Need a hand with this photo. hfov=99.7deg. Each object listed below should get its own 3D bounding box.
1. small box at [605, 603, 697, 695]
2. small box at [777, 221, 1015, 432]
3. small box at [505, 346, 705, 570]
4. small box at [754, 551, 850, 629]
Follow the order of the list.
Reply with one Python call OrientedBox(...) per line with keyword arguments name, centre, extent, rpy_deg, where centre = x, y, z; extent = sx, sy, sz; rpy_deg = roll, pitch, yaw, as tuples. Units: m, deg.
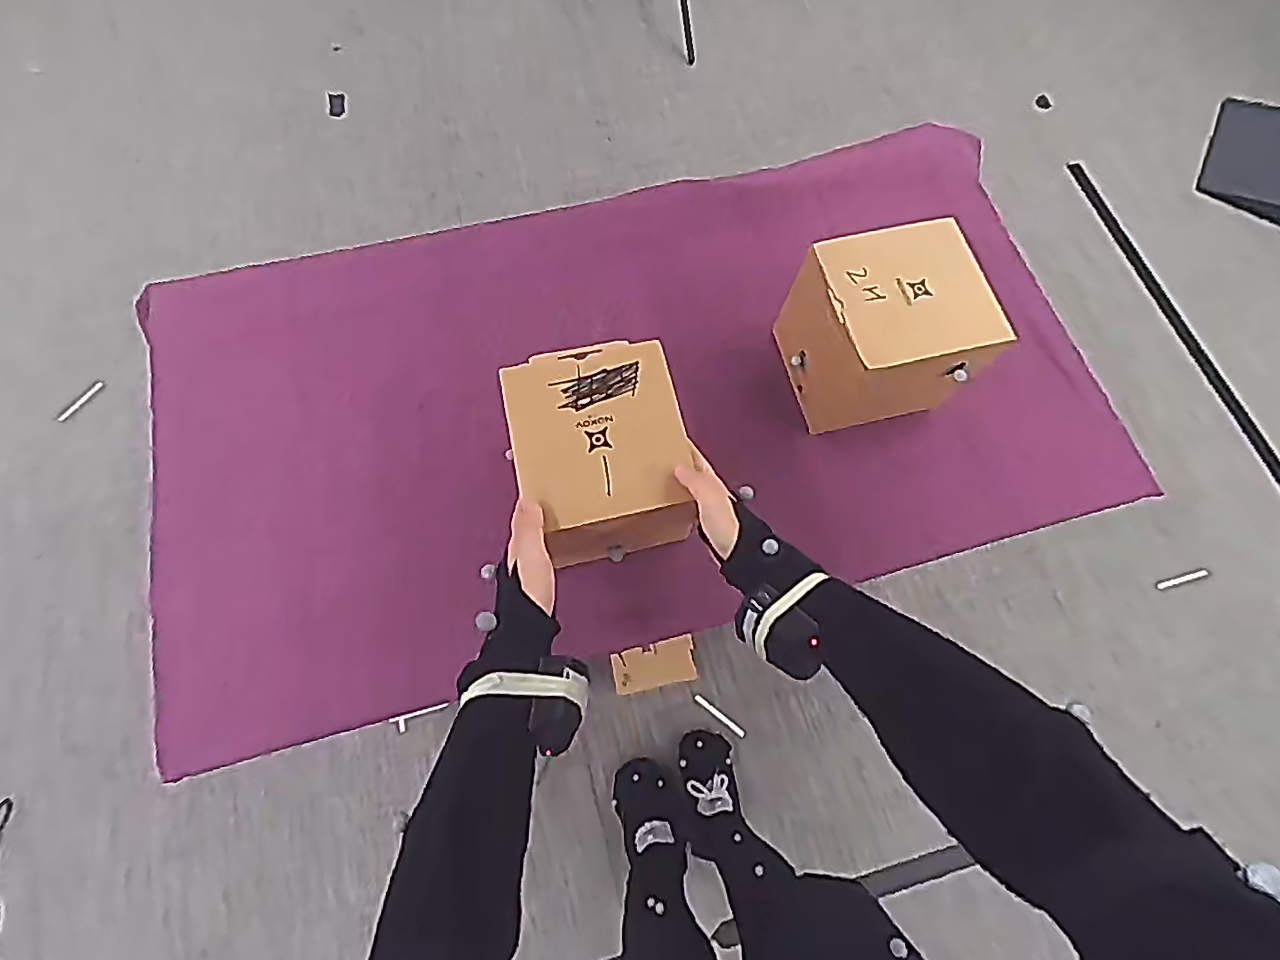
OrientedBox(name="small box", centre=(0.018, 0.382, 1.235), extent=(0.179, 0.176, 0.168), rpy_deg=(-10, 73, -5))
OrientedBox(name="small box", centre=(0.289, -0.175, 0.654), extent=(0.179, 0.176, 0.168), rpy_deg=(-13, 72, -5))
OrientedBox(name="small box", centre=(-0.039, -0.015, 0.586), extent=(0.168, 0.176, 0.179), rpy_deg=(-12, 72, -5))
OrientedBox(name="small box", centre=(0.377, 0.266, 1.284), extent=(0.179, 0.176, 0.168), rpy_deg=(2, 73, 0))
